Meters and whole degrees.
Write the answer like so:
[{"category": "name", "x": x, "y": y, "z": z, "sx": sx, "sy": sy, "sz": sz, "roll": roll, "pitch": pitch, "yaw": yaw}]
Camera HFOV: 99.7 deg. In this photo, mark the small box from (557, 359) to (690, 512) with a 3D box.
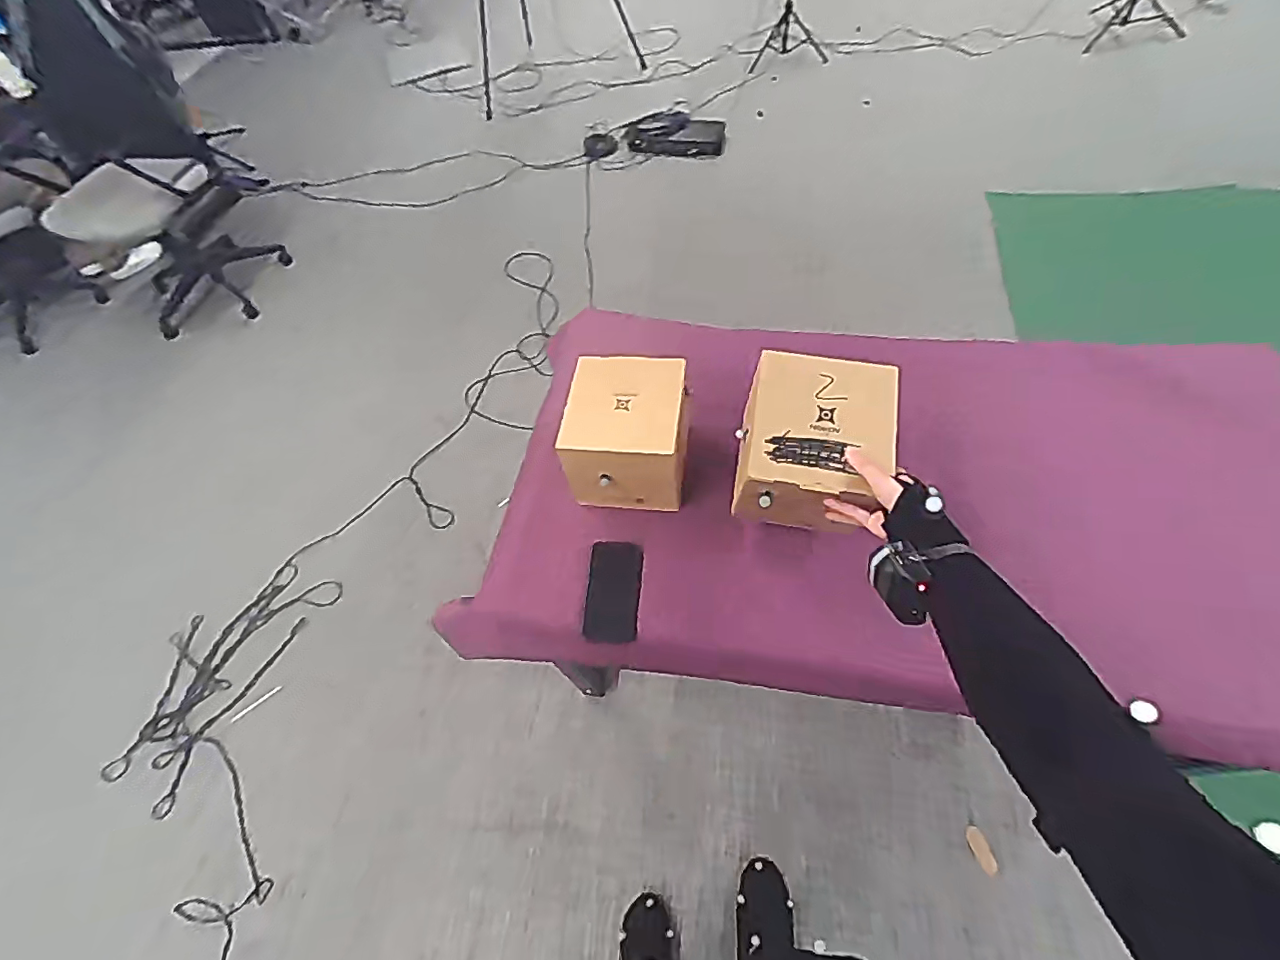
[{"category": "small box", "x": -0.013, "y": -0.065, "z": 0.834, "sx": 0.168, "sy": 0.176, "sz": 0.179, "roll": 3, "pitch": 58, "yaw": 10}]
